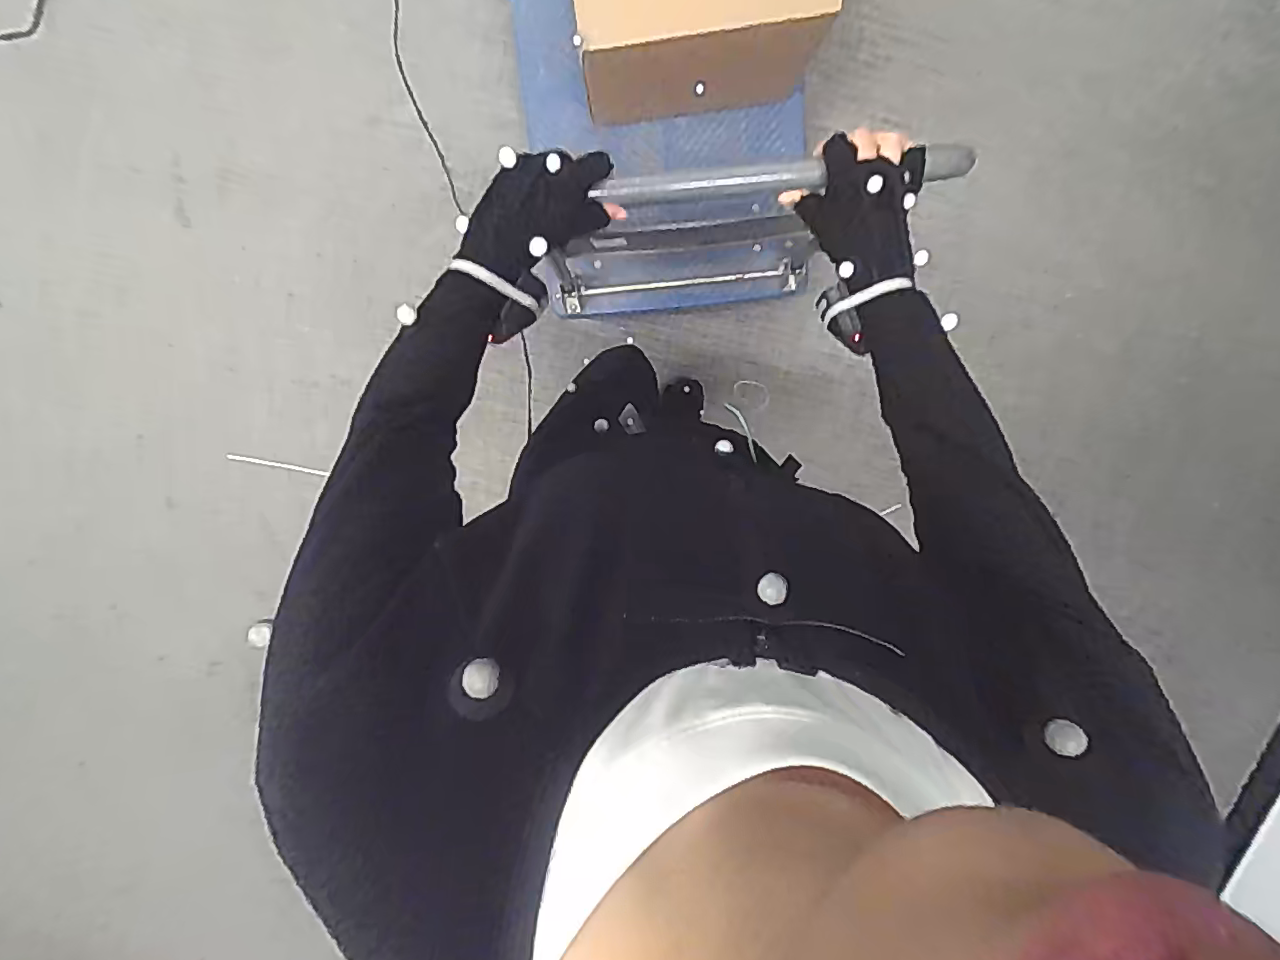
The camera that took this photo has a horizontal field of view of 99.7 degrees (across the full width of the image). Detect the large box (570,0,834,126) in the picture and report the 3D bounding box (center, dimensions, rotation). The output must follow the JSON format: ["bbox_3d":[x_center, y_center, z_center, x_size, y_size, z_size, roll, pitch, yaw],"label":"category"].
[{"bbox_3d":[0.083,-0.869,0.942,0.408,0.320,0.320,-7,103,2],"label":"large box"}]
